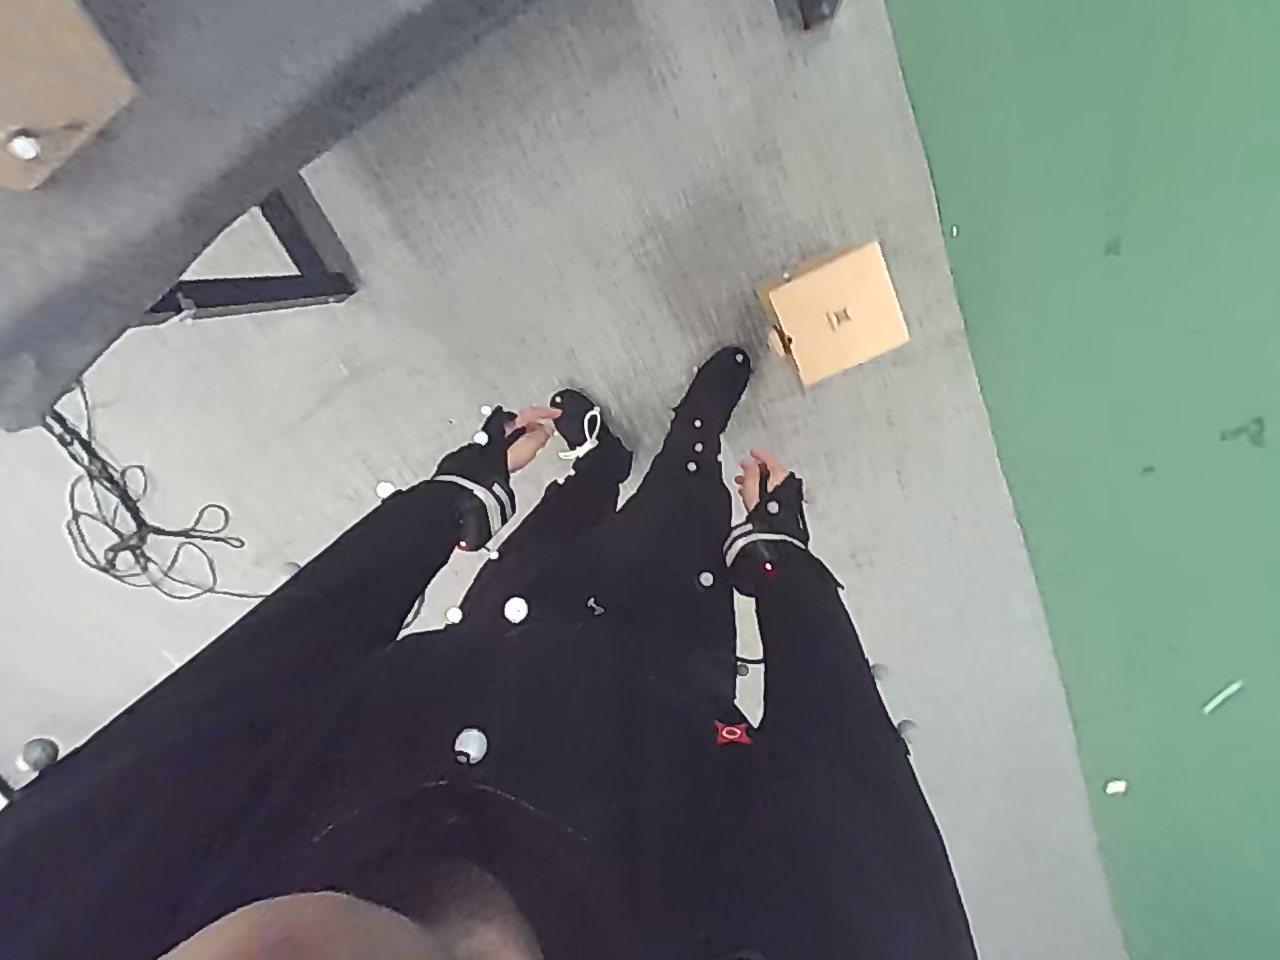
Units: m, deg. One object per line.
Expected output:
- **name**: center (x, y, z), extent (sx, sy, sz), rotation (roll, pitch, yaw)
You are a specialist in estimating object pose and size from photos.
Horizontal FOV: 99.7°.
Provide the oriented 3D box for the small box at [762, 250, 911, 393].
- **small box**: center (0.322, -0.273, 0.919), extent (0.179, 0.176, 0.168), rotation (-23, 107, 16)
